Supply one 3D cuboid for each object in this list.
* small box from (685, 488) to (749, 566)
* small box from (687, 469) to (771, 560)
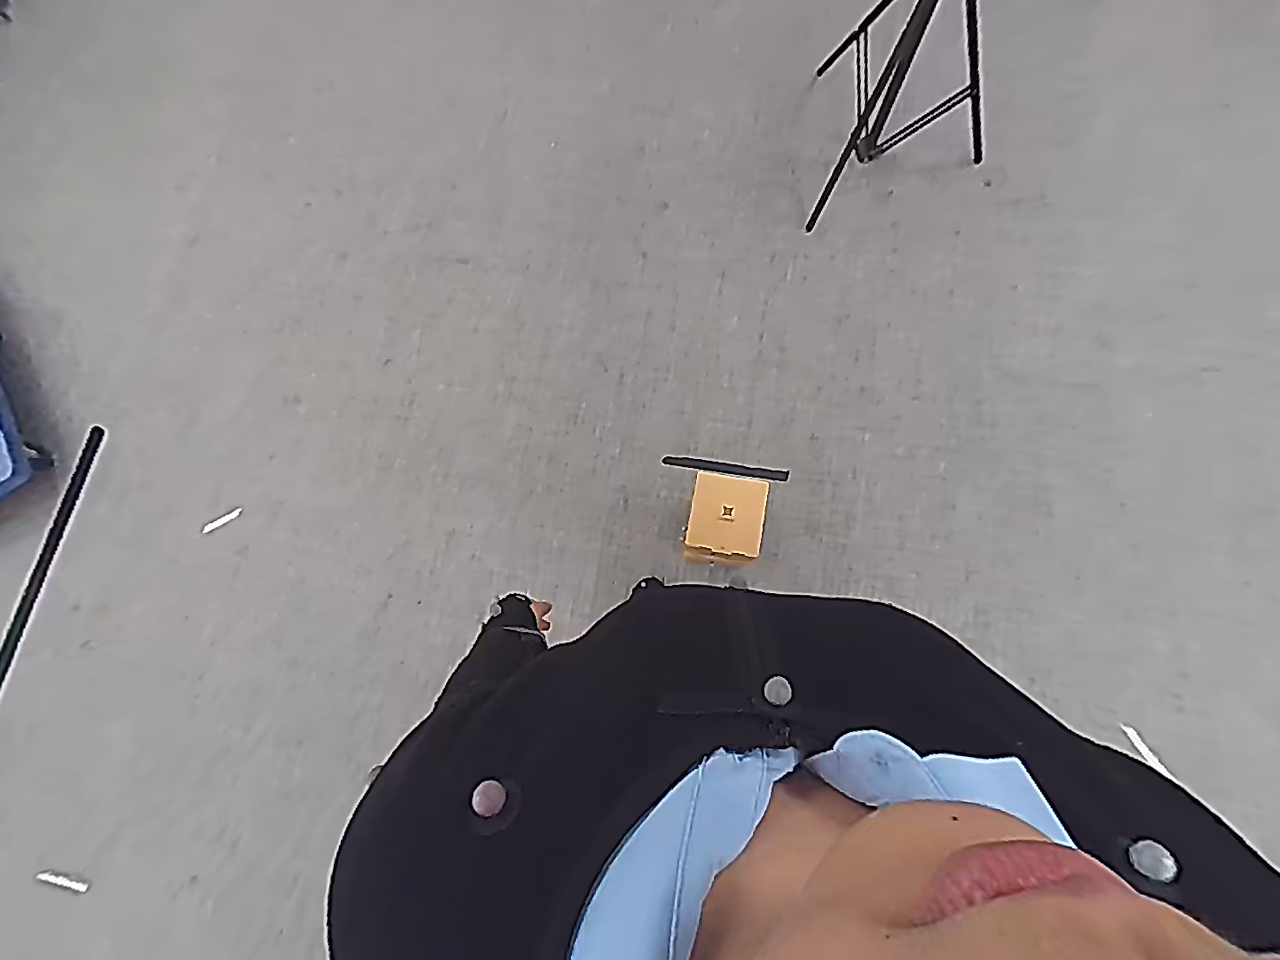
[{"bbox_3d":[0.212,0.130,1.445,0.168,0.176,0.179,7,78,6],"label":"small box"},{"bbox_3d":[0.205,0.088,1.288,0.168,0.176,0.179,9,80,7],"label":"small box"}]
